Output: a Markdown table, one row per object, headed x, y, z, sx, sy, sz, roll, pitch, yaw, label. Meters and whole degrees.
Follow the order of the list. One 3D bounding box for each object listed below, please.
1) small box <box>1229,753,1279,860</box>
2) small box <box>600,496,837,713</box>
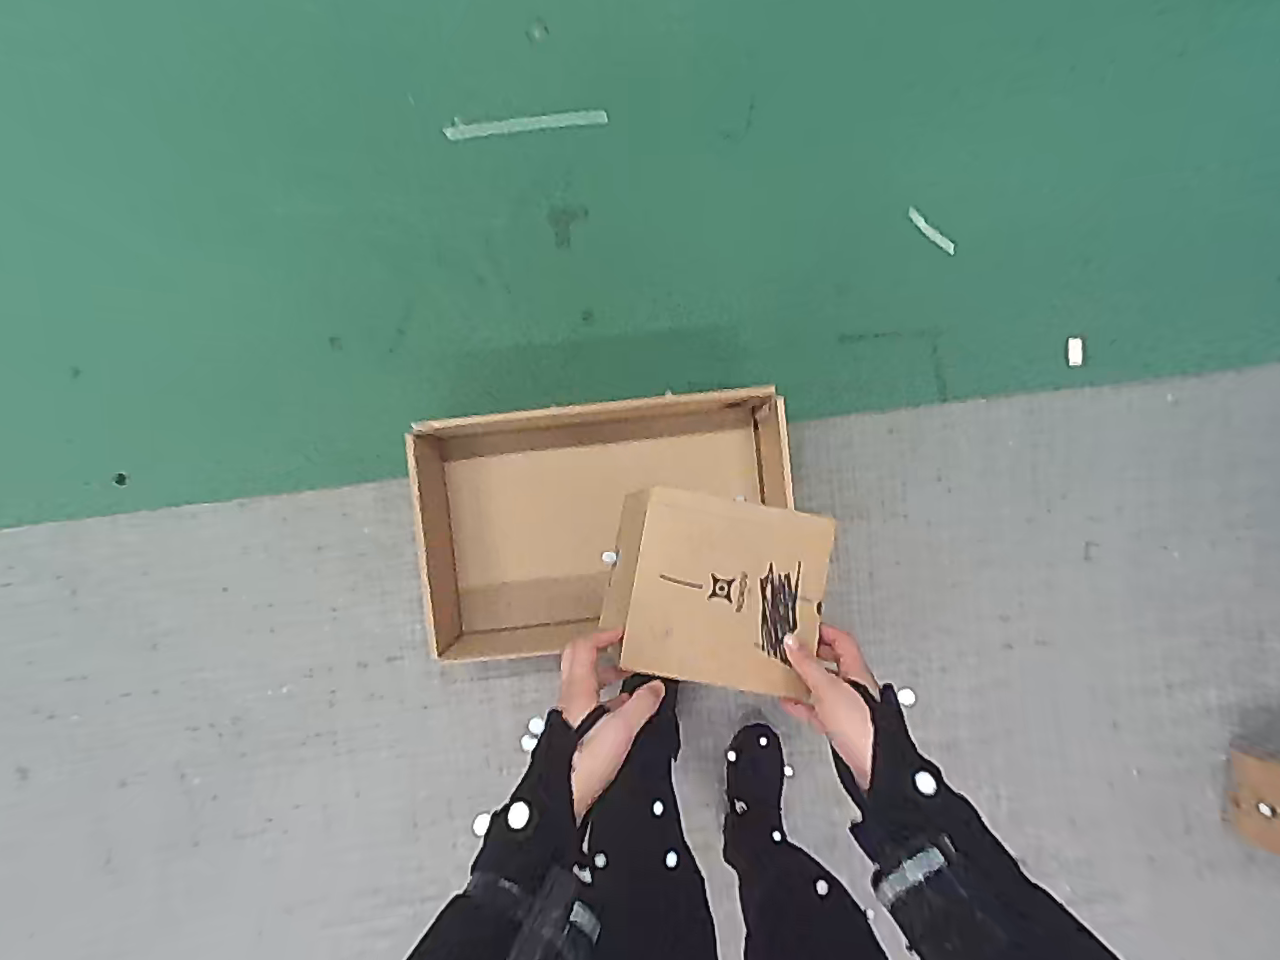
| x | y | z | sx | sy | sz | roll | pitch | yaw | label |
| --- | --- | --- | --- | --- | --- | --- | --- | --- | --- |
| 1.265 | 0.630 | 1.002 | 0.179 | 0.176 | 0.168 | 5 | 90 | -1 | small box |
| 0.066 | 0.113 | 0.546 | 0.179 | 0.176 | 0.168 | 12 | 85 | -9 | small box |
